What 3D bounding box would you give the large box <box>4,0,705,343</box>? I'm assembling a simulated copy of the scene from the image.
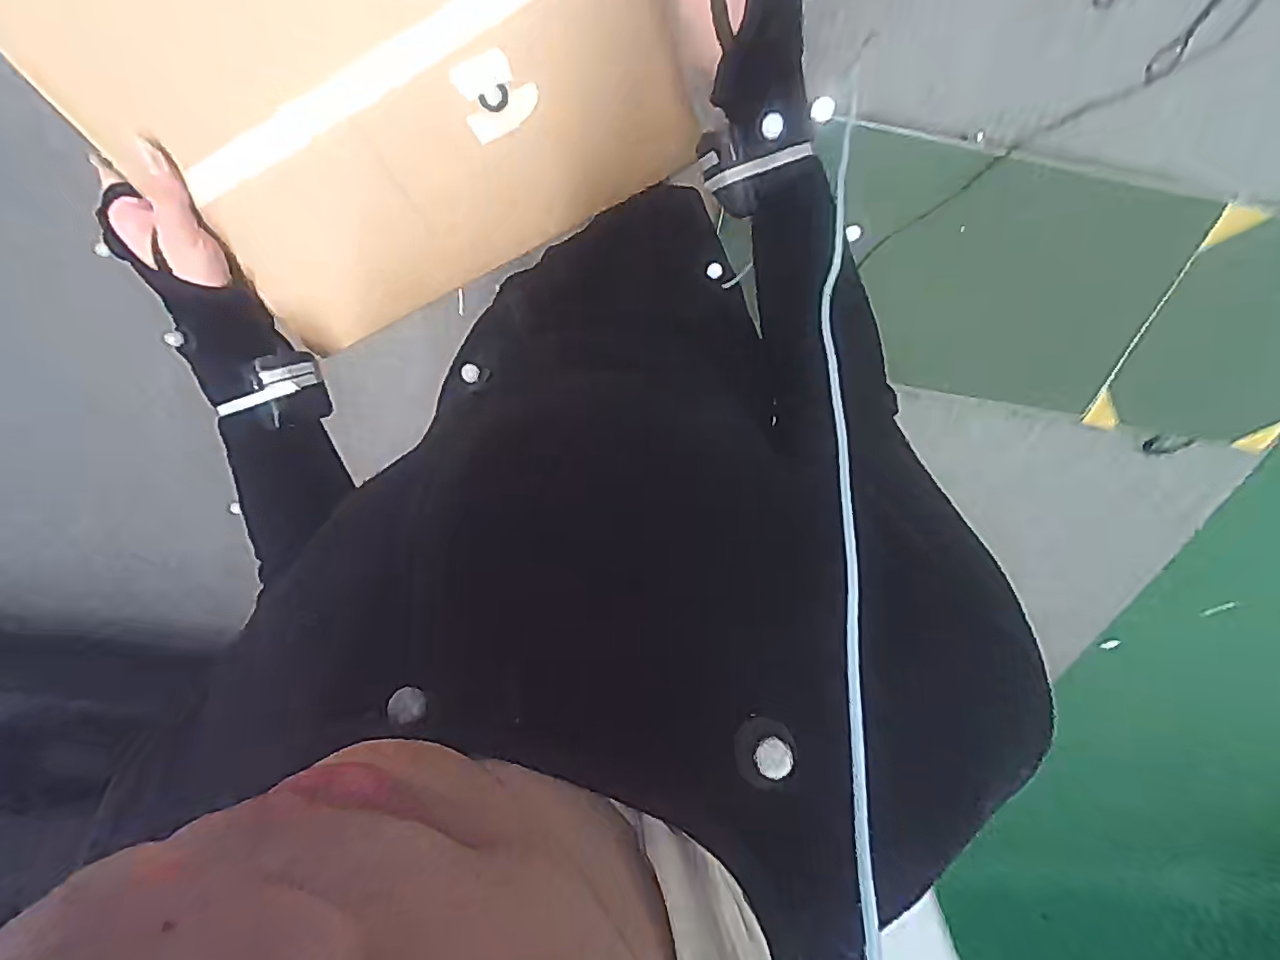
[{"bbox_3d":[-0.207,-0.404,0.505,0.408,0.320,0.320,-24,133,7],"label":"large box"}]
